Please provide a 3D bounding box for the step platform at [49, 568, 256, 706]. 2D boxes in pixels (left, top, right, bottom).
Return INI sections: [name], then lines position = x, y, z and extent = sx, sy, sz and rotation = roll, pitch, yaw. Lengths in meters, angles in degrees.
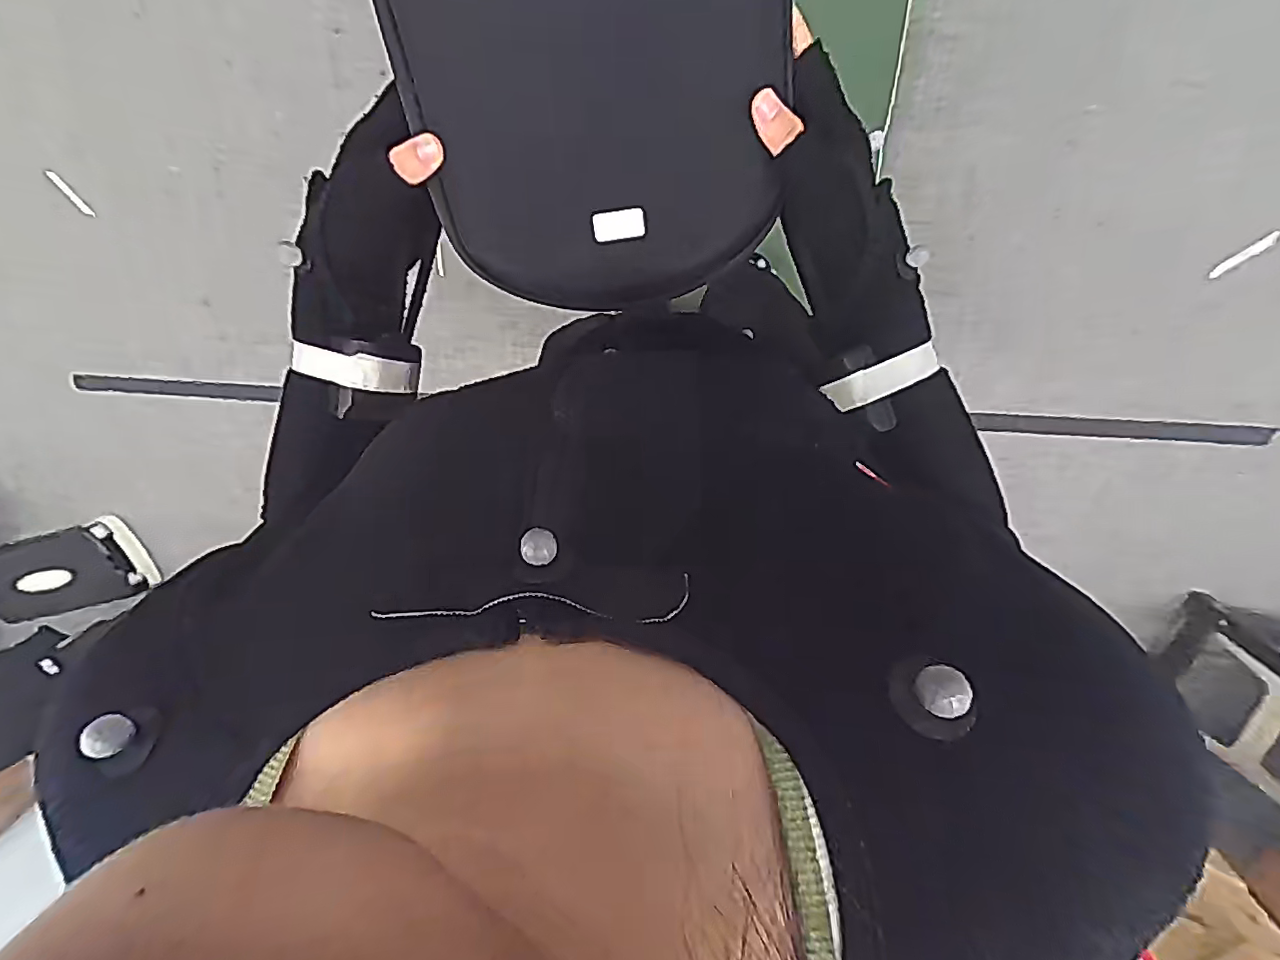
[step platform]
position = -1.760, 0.573, 1.952
extent = 0.684, 0.204, 0.286
rotation = -24, 109, 15
